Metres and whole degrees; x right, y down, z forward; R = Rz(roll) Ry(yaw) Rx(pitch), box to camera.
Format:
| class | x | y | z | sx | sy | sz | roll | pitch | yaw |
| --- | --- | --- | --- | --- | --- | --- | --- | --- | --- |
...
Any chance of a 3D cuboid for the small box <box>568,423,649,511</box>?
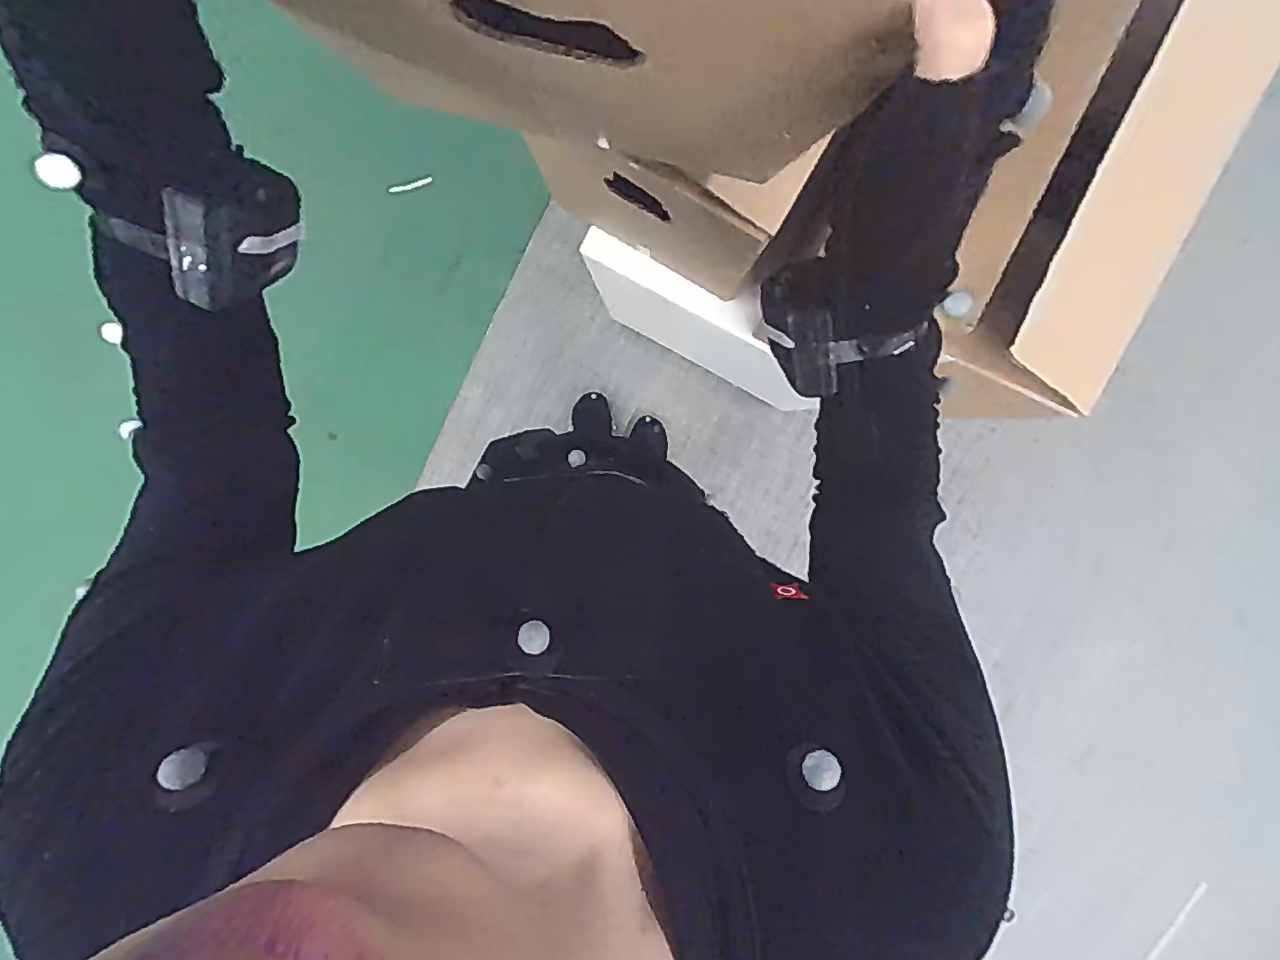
| class | x | y | z | sx | sy | sz | roll | pitch | yaw |
| --- | --- | --- | --- | --- | --- | --- | --- | --- | --- |
| small box | -0.090 | -0.038 | 1.420 | 0.168 | 0.176 | 0.179 | 13 | 101 | -14 |
